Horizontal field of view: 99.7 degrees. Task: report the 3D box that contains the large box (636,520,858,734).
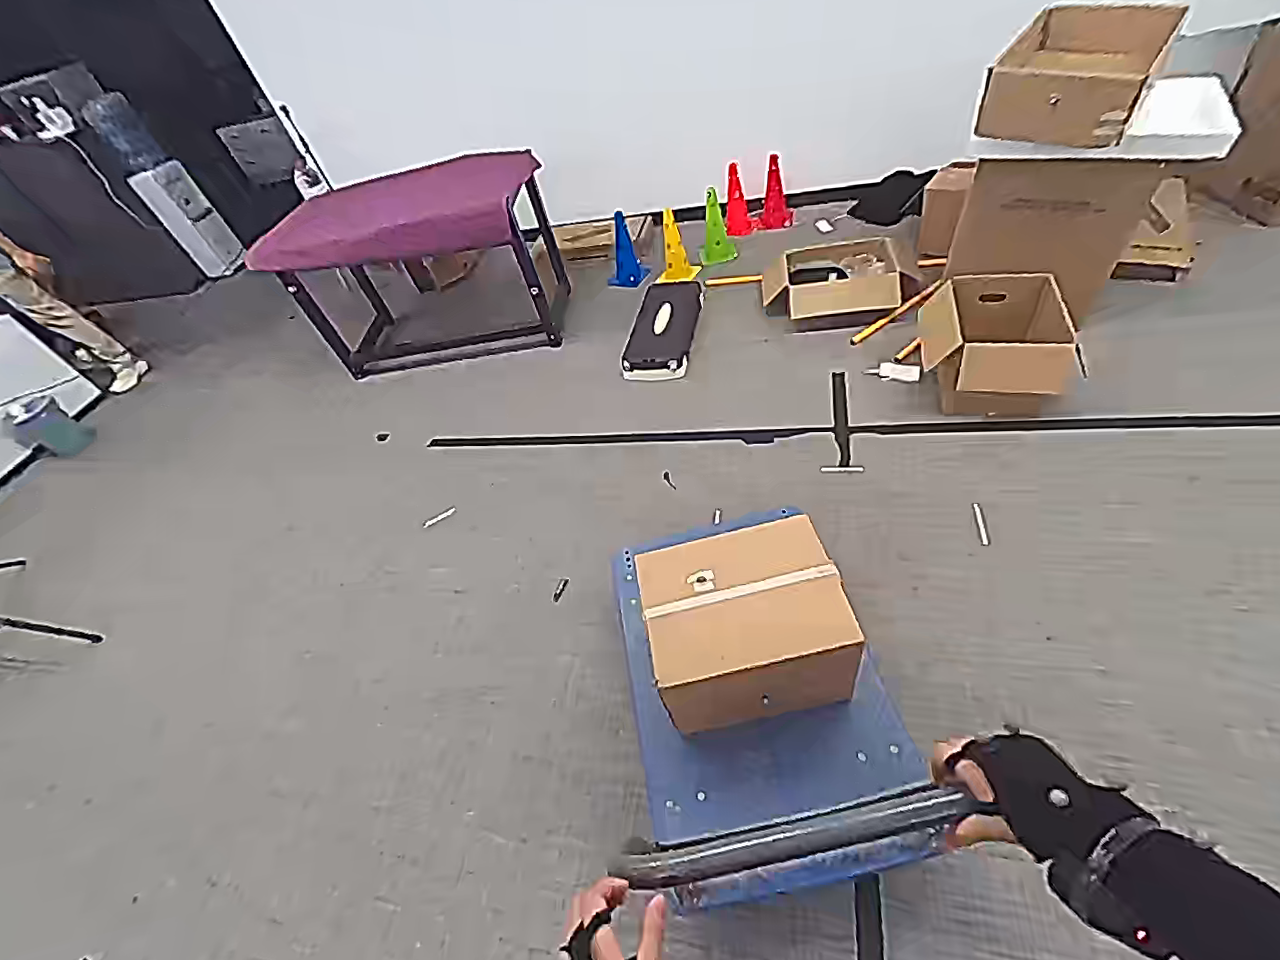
[{"bbox_3d":[0.237,0.347,1.250,0.408,0.320,0.320,-15,47,4],"label":"large box"}]
